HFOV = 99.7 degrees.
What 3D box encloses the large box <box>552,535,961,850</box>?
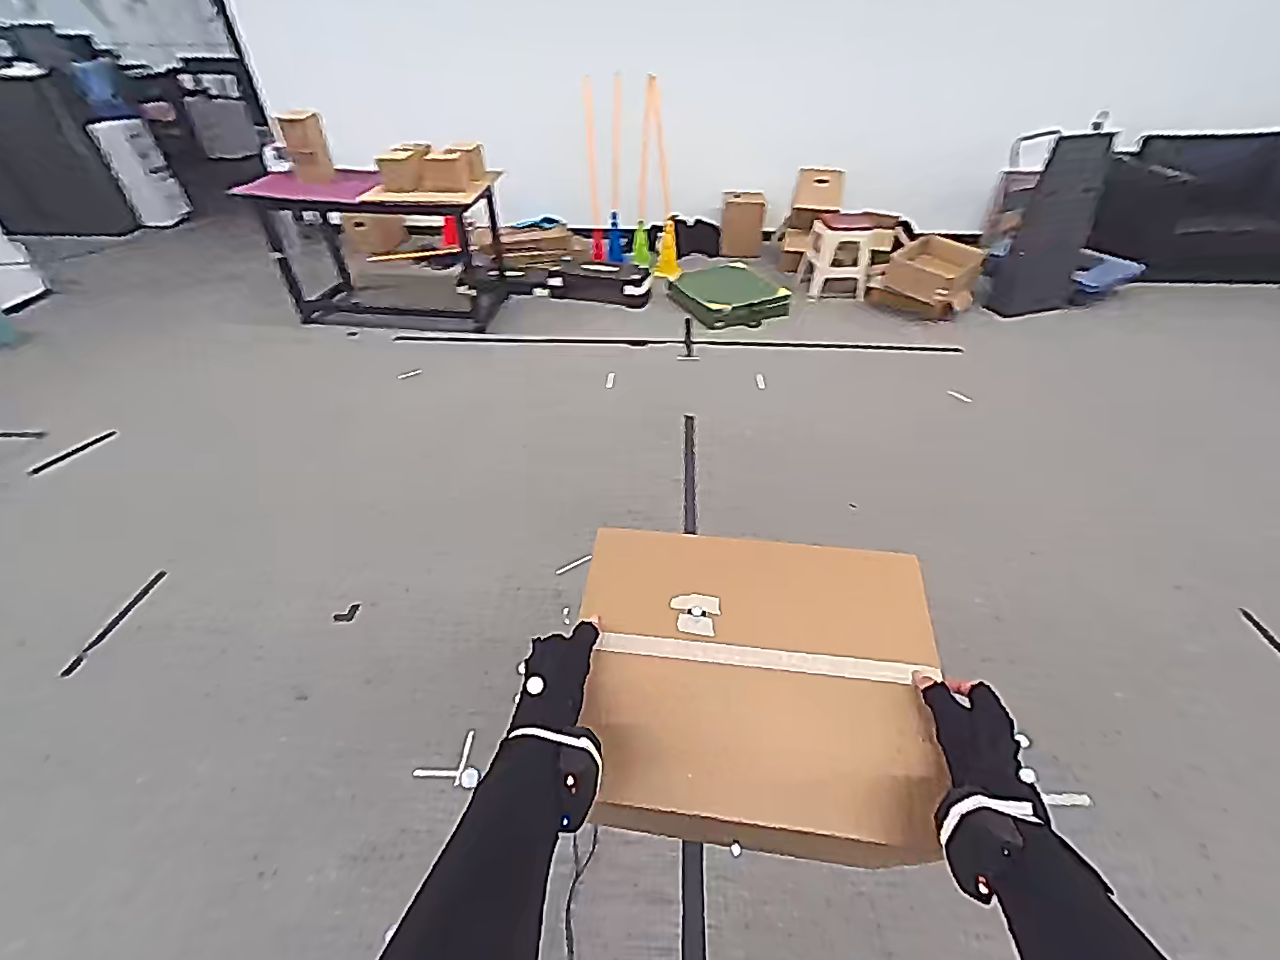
[{"bbox_3d":[0.132,0.293,0.734,0.408,0.320,0.320,3,52,7],"label":"large box"}]
